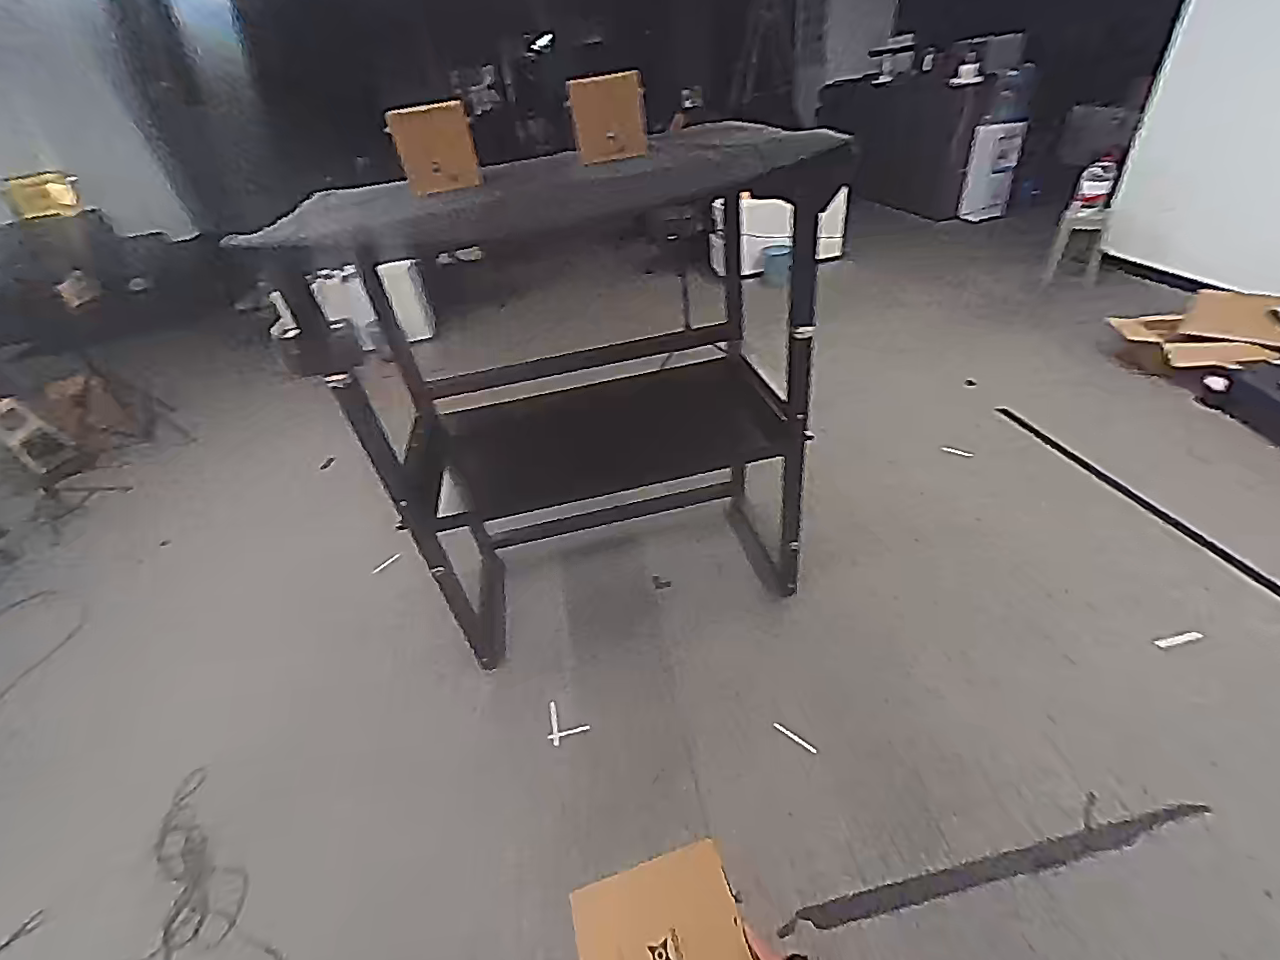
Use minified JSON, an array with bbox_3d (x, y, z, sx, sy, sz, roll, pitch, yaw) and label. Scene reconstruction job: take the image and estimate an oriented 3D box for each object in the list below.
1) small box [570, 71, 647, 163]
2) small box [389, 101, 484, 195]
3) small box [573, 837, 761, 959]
[{"bbox_3d":[-0.077,-0.904,1.349,0.168,0.176,0.179,-9,38,1],"label":"small box"},{"bbox_3d":[-0.485,-0.801,1.306,0.168,0.176,0.179,-16,39,-9],"label":"small box"},{"bbox_3d":[0.040,0.544,0.604,0.179,0.176,0.168,-18,39,-7],"label":"small box"}]
